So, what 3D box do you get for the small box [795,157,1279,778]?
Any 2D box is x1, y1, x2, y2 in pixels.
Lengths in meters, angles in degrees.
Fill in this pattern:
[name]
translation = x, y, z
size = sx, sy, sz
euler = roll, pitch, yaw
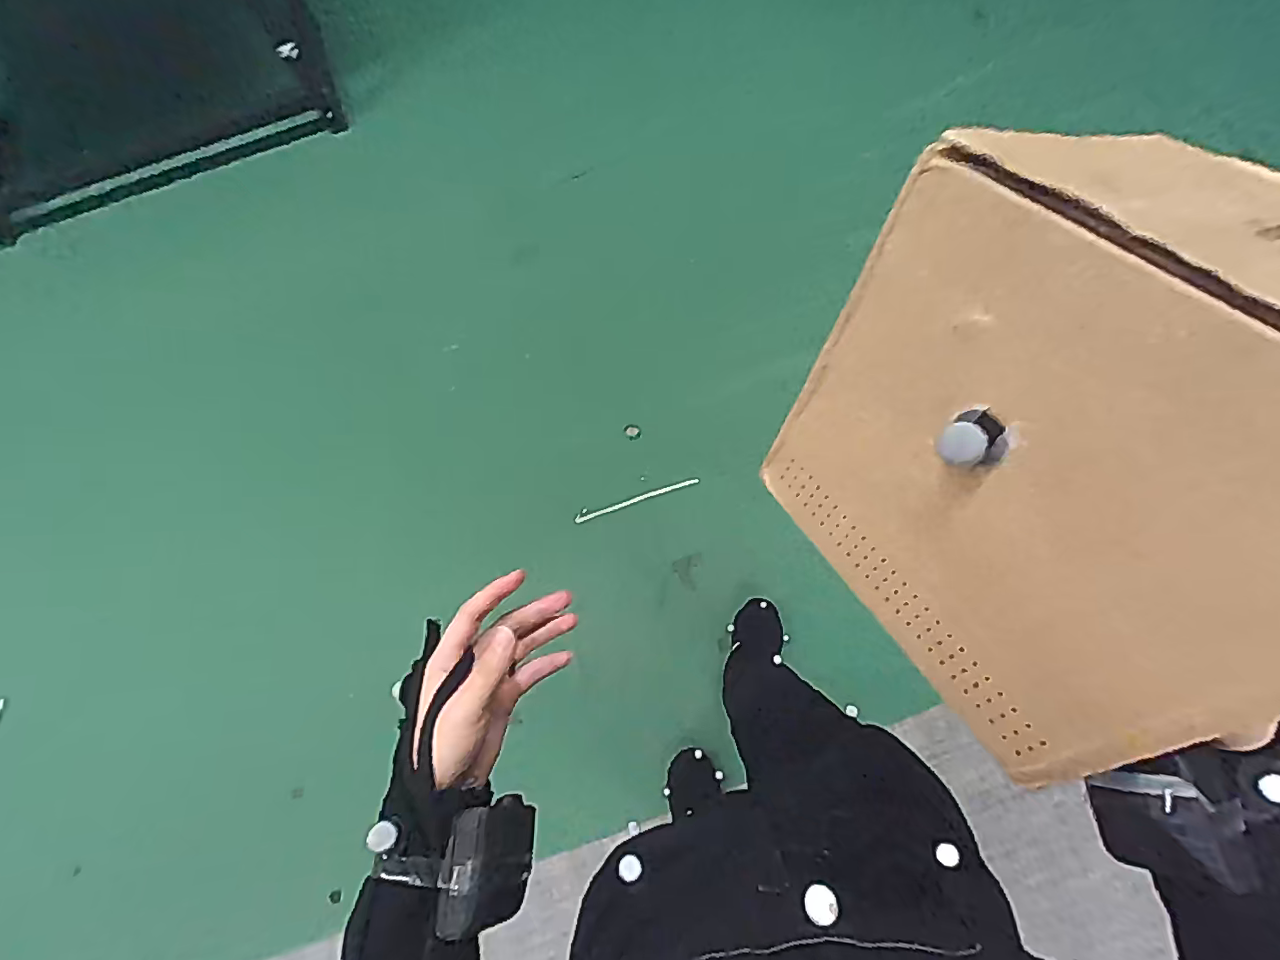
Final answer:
[small box]
translation = 0.199, -0.012, 0.230
size = 0.168, 0.176, 0.179
euler = -19, 56, -25
